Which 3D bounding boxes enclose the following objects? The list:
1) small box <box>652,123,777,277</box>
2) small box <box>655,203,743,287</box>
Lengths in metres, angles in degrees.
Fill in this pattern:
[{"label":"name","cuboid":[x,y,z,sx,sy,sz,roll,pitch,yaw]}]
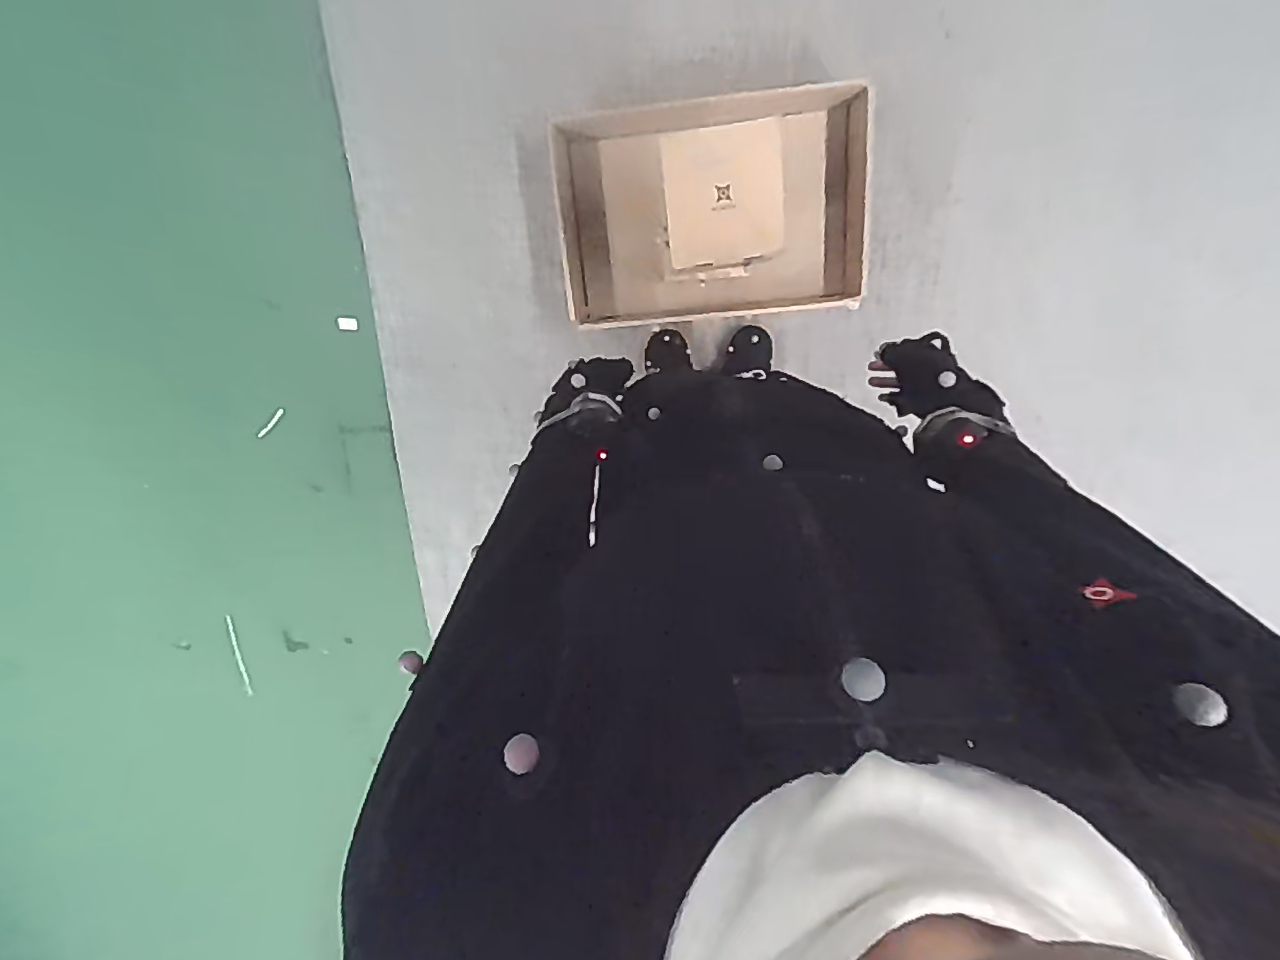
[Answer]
[{"label":"small box","cuboid":[0.112,-0.417,0.837,0.168,0.176,0.179,-7,106,5]},{"label":"small box","cuboid":[0.126,-0.509,1.166,0.179,0.176,0.168,-2,107,6]}]
